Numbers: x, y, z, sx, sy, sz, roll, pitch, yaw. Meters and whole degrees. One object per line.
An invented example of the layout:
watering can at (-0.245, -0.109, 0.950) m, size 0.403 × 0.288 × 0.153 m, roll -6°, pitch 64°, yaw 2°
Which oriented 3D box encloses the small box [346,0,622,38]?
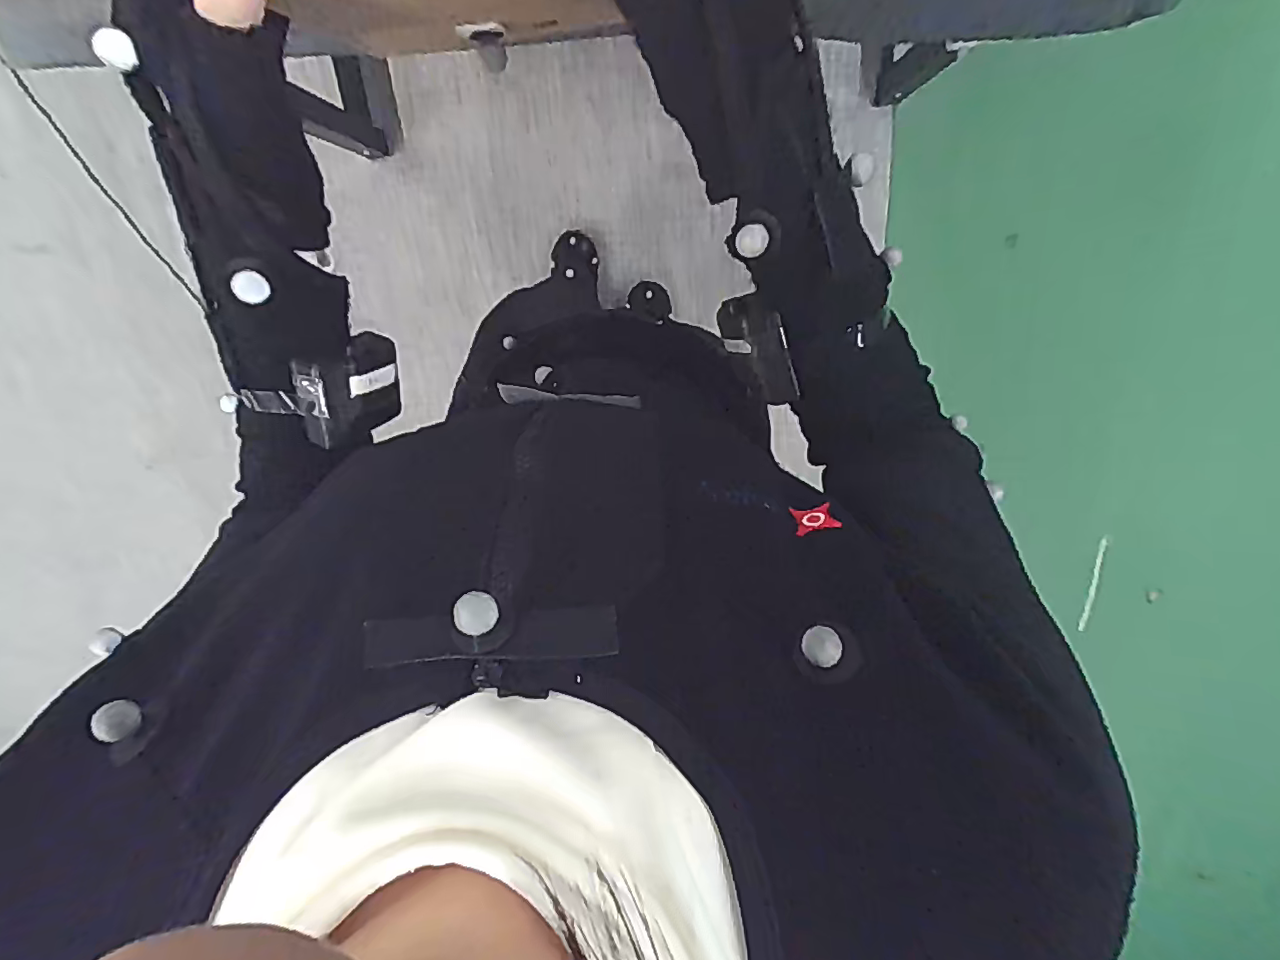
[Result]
small box at (-0.086, -0.314, 0.217) m, size 0.168 × 0.176 × 0.179 m, roll -7°, pitch 121°, yaw 4°
